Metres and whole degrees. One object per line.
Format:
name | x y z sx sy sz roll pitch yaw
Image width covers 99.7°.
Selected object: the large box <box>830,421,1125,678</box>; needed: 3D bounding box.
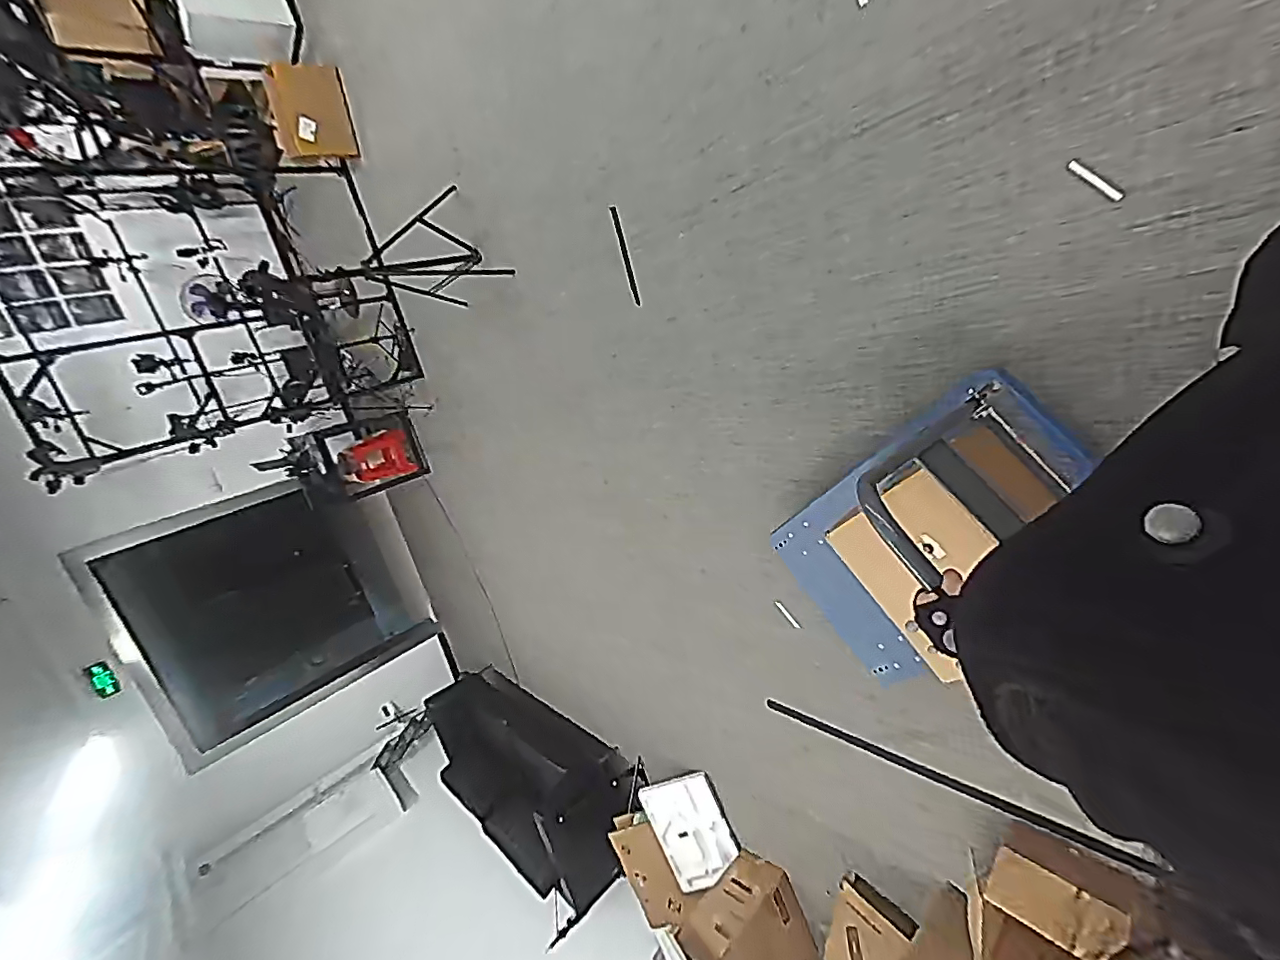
large box | 0.722 0.147 1.185 0.408 0.320 0.320 54 142 15
